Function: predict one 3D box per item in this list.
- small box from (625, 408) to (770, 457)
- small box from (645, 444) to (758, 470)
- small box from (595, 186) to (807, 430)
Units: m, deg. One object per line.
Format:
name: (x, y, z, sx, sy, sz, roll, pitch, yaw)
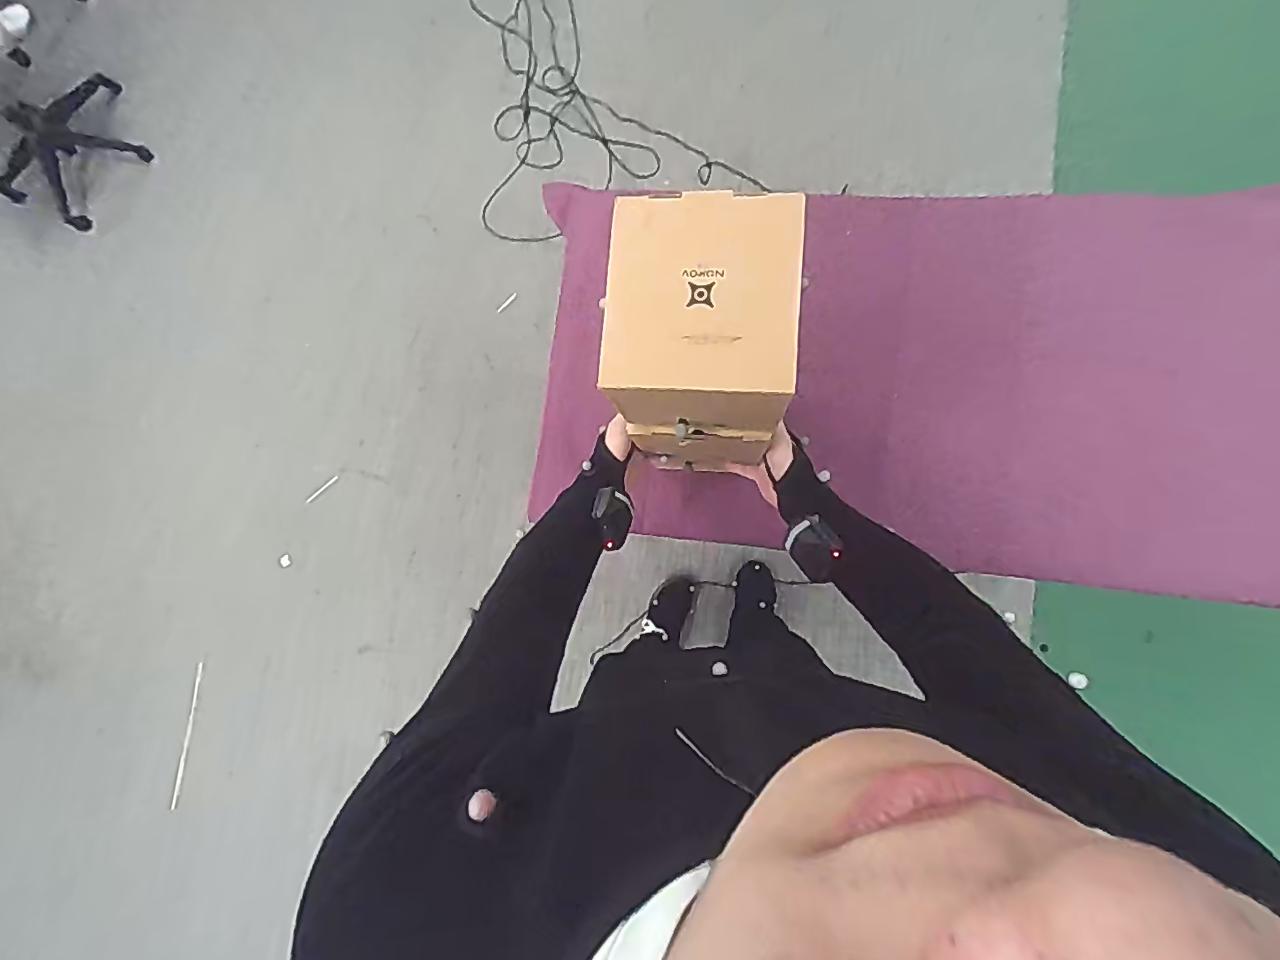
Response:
small box: (0.082, -0.128, 0.688, 0.168, 0.176, 0.179, 3, 83, 9)
small box: (0.106, -0.111, 0.850, 0.168, 0.176, 0.179, 3, 84, 9)
small box: (0.061, -0.154, 0.528, 0.168, 0.176, 0.179, 4, 85, 10)
